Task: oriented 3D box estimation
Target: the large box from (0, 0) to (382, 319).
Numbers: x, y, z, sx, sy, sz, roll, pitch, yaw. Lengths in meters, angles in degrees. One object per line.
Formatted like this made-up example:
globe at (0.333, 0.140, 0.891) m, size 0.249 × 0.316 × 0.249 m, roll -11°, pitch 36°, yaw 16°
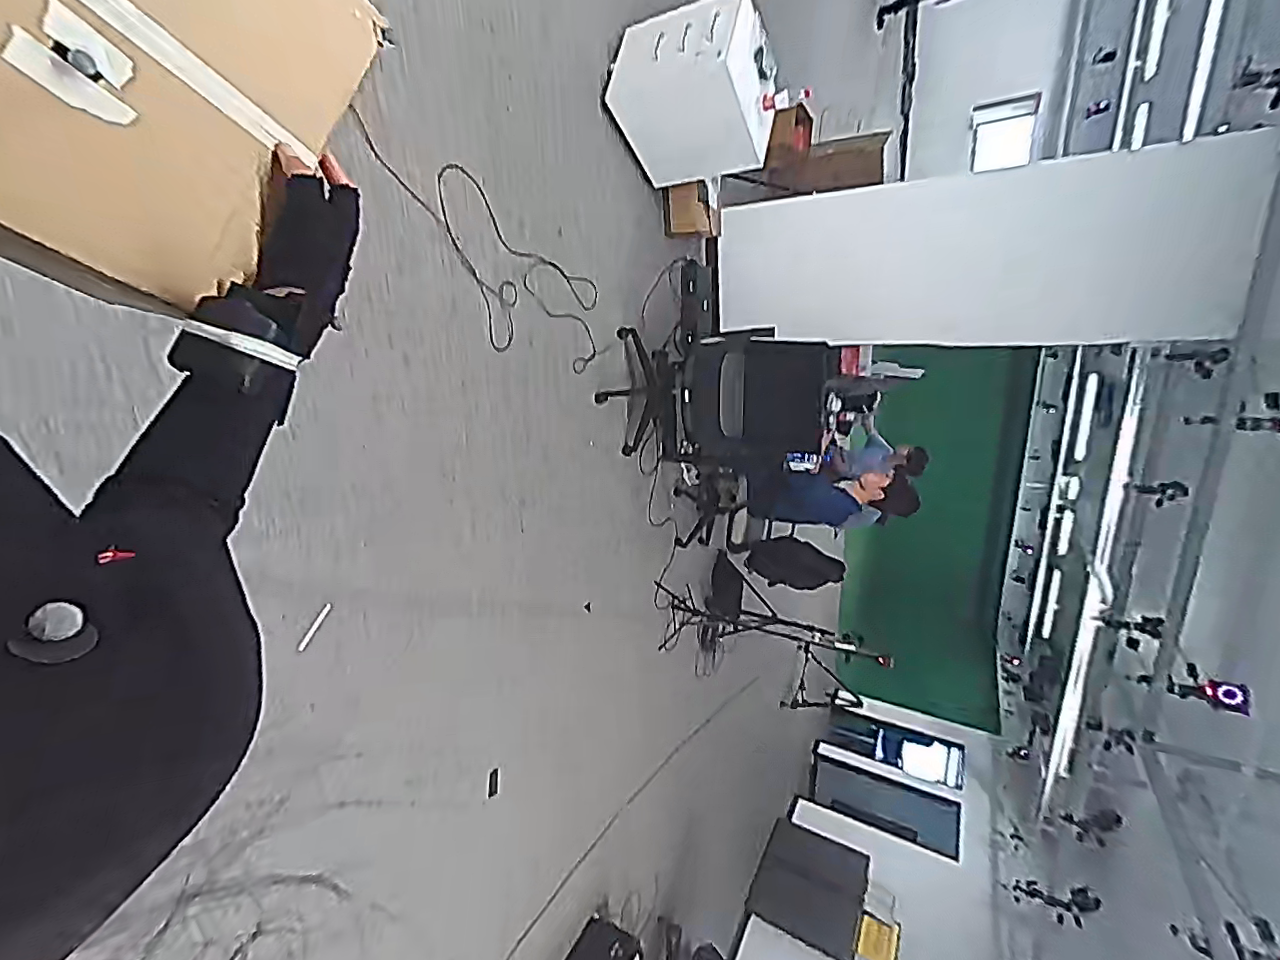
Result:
large box at (-0.498, -0.365, 0.382) m, size 0.408 × 0.320 × 0.320 m, roll 34°, pitch 76°, yaw -58°
